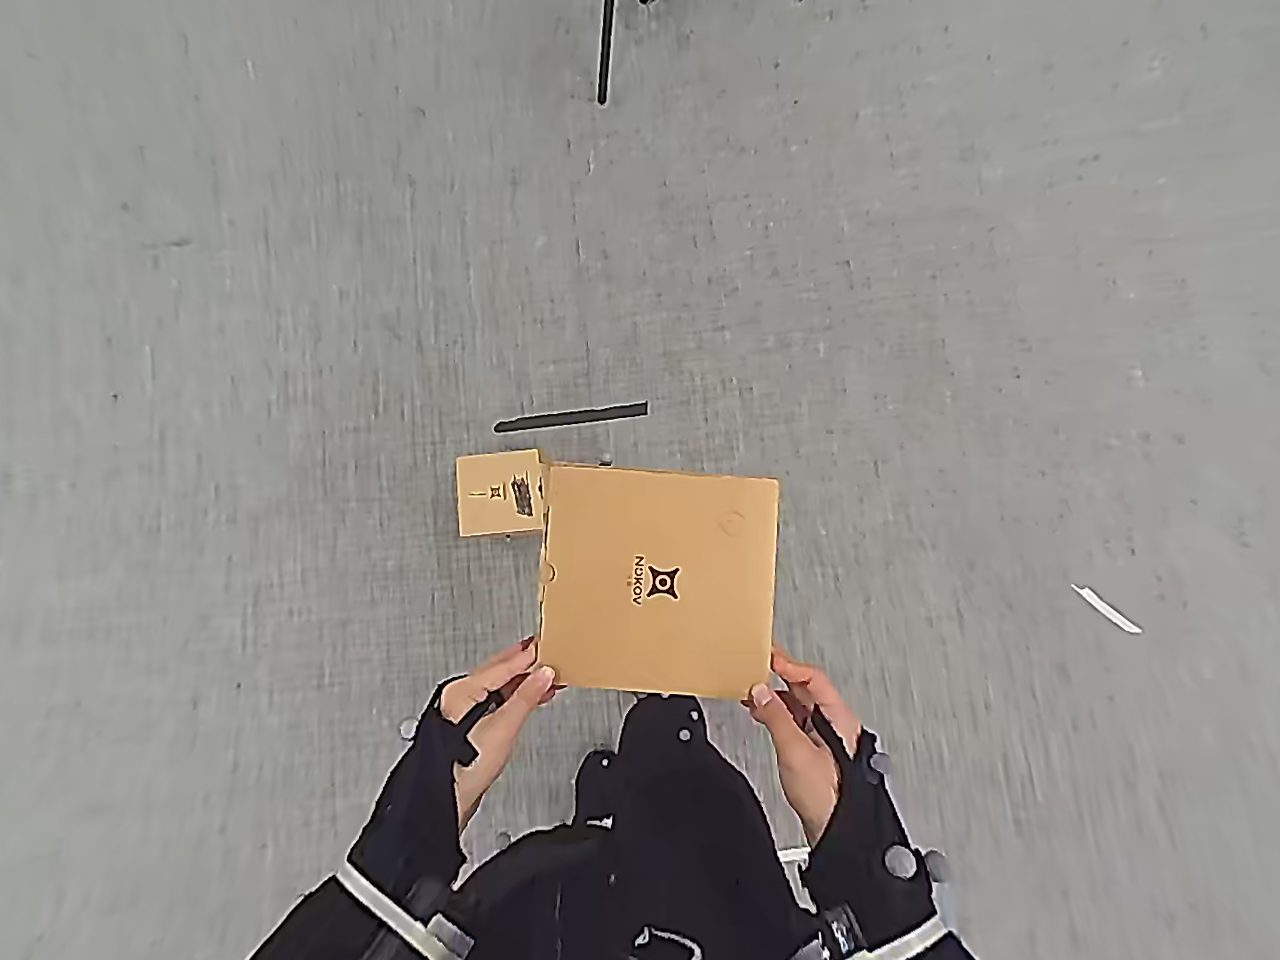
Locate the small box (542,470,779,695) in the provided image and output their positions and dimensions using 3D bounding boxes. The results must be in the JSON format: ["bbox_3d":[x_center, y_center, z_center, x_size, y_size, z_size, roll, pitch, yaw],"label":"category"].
[{"bbox_3d":[0.019,0.080,0.494,0.179,0.176,0.168,3,87,4],"label":"small box"}]

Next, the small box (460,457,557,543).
[{"bbox_3d":[-0.275,0.048,1.176,0.179,0.176,0.168,-6,82,2],"label":"small box"}]
